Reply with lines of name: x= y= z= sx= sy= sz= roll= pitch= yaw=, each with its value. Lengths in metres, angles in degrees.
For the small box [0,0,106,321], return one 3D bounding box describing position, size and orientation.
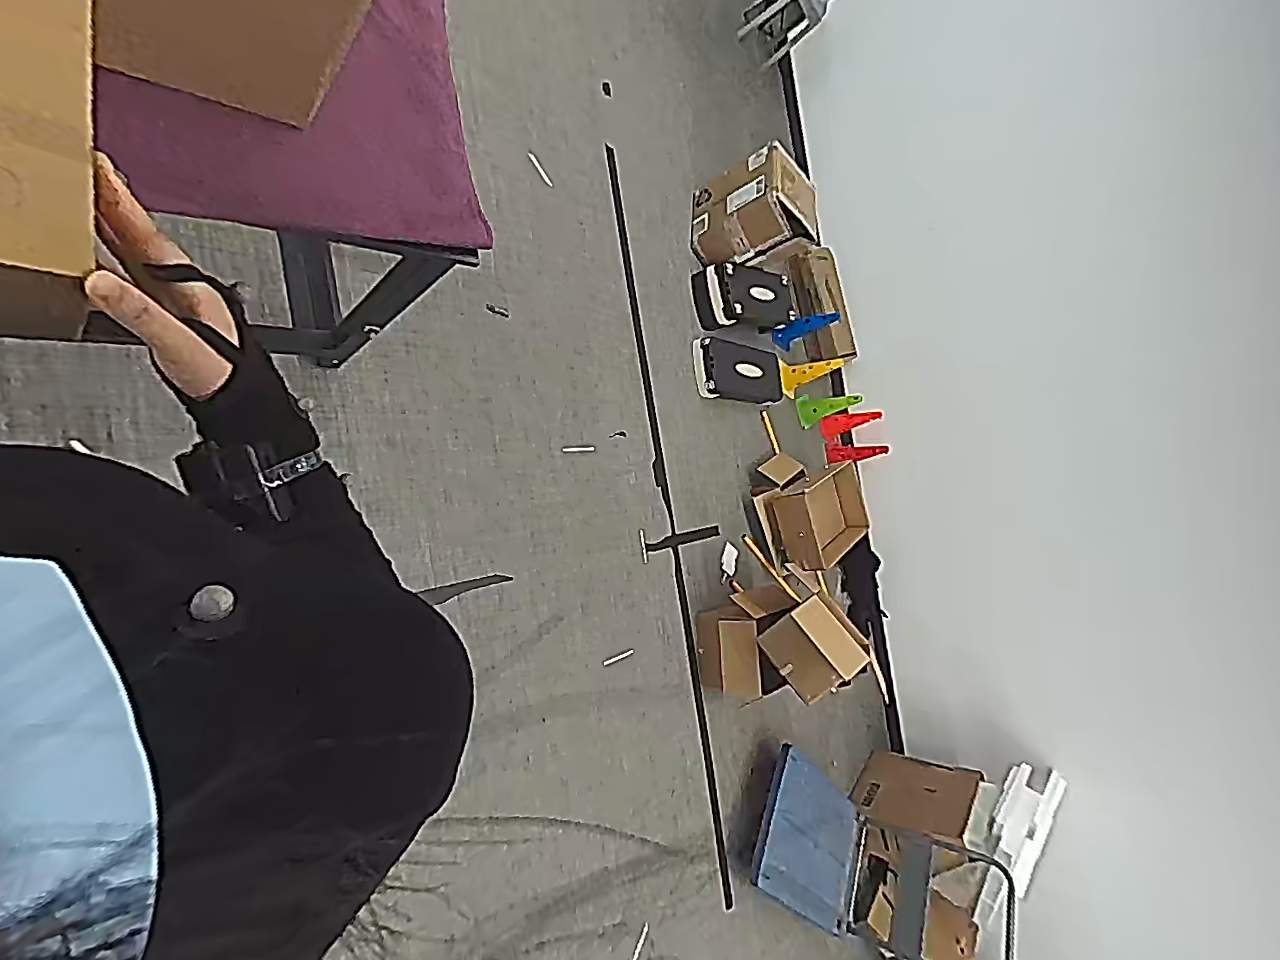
small box: x=-0.396 y=-0.196 z=0.278 sx=0.168 sy=0.176 sz=0.179 roll=0 pitch=88 yaw=-49
